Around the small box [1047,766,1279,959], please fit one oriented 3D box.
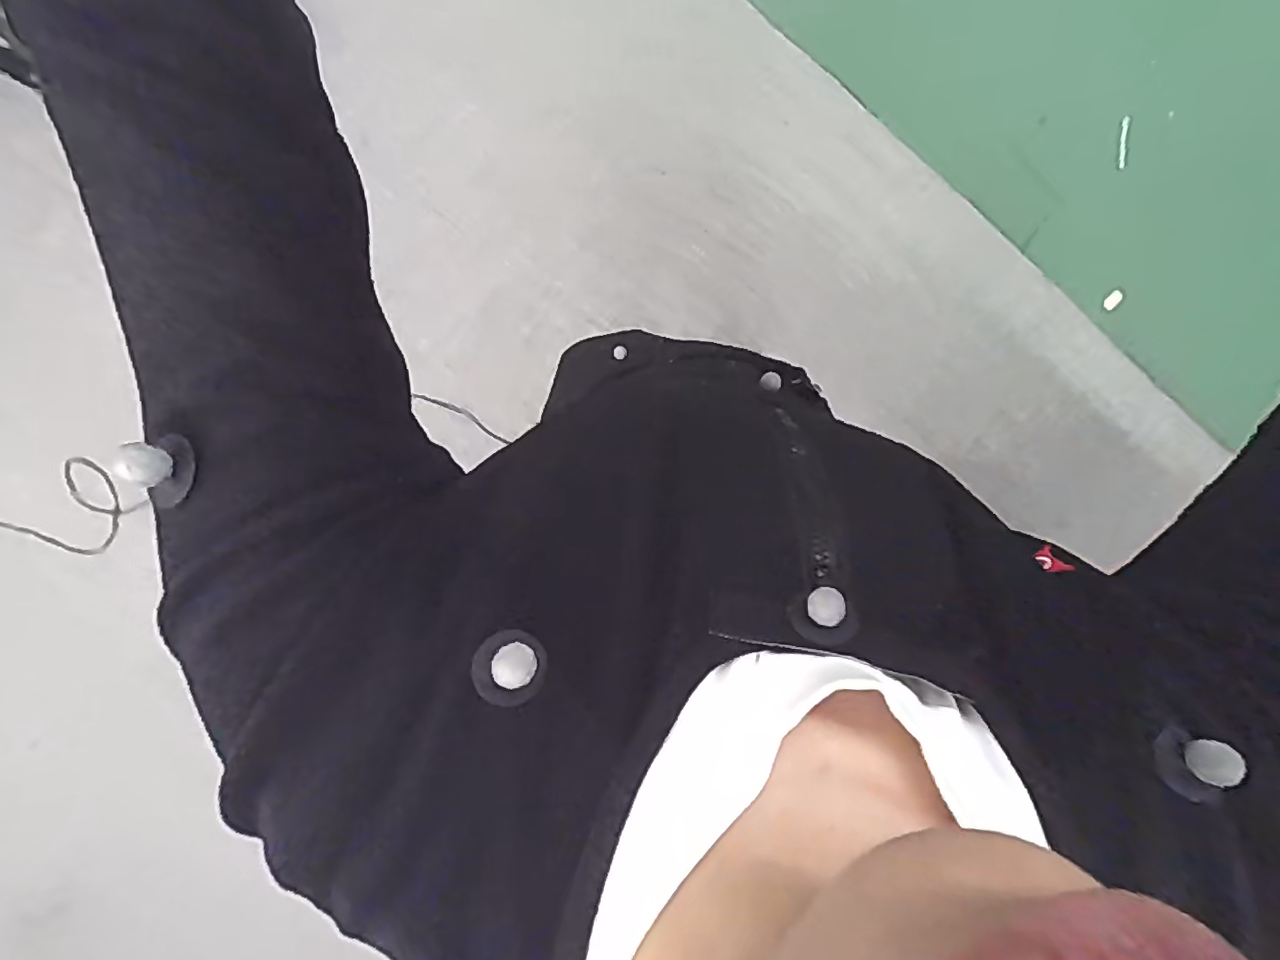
[{"bbox_3d":[0.645,0.479,0.630,0.179,0.176,0.168,34,97,-7],"label":"small box"}]
